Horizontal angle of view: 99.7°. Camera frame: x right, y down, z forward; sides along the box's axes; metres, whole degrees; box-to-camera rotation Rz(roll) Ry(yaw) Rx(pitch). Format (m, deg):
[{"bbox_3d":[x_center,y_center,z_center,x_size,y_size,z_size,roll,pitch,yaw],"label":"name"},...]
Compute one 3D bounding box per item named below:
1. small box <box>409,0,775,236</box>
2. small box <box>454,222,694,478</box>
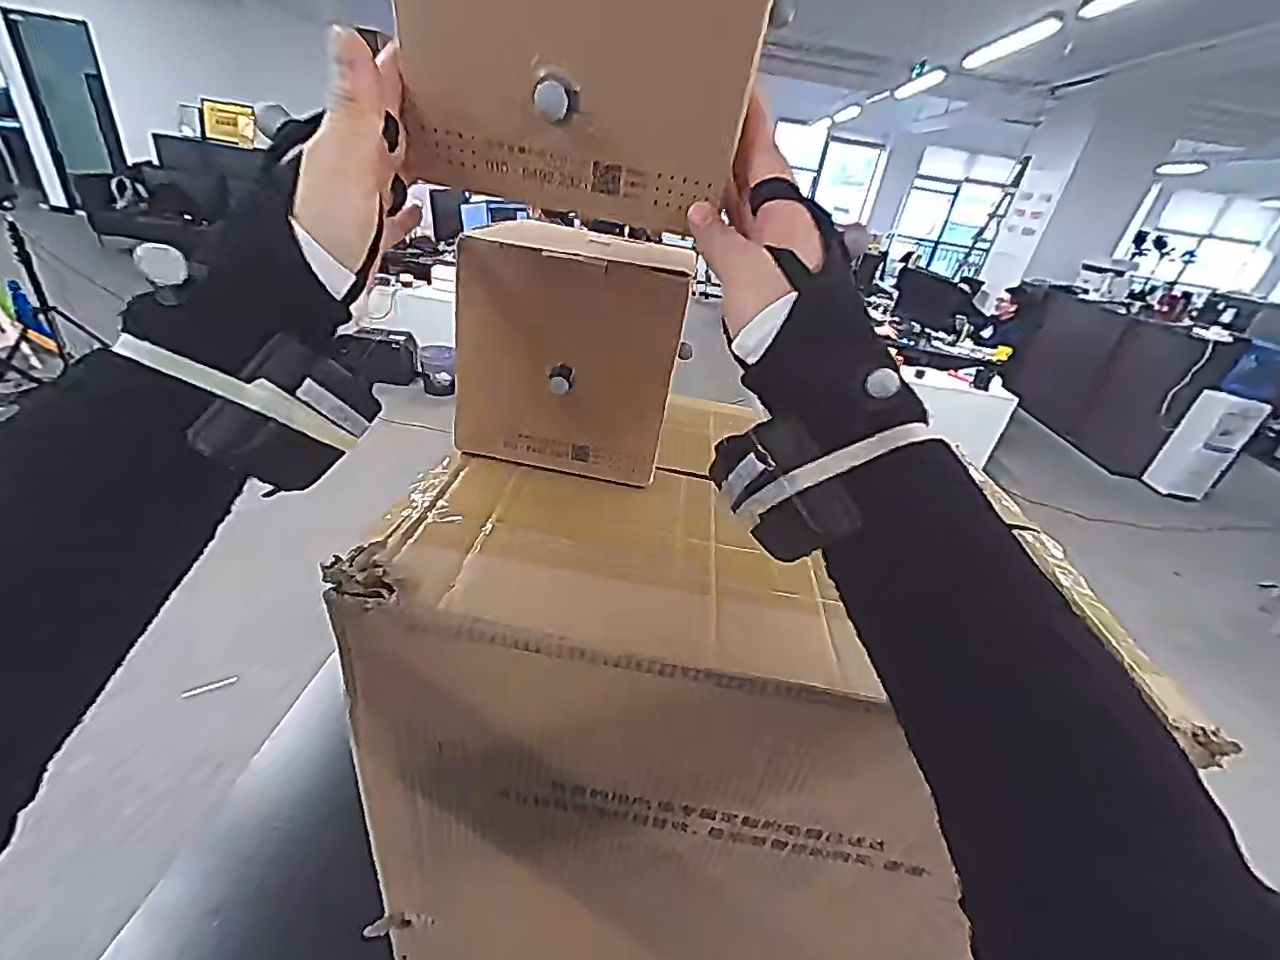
[{"bbox_3d":[-0.015,-0.257,0.290,0.168,0.176,0.179,11,44,0],"label":"small box"},{"bbox_3d":[-0.049,-0.120,0.479,0.168,0.176,0.179,11,29,1],"label":"small box"}]
